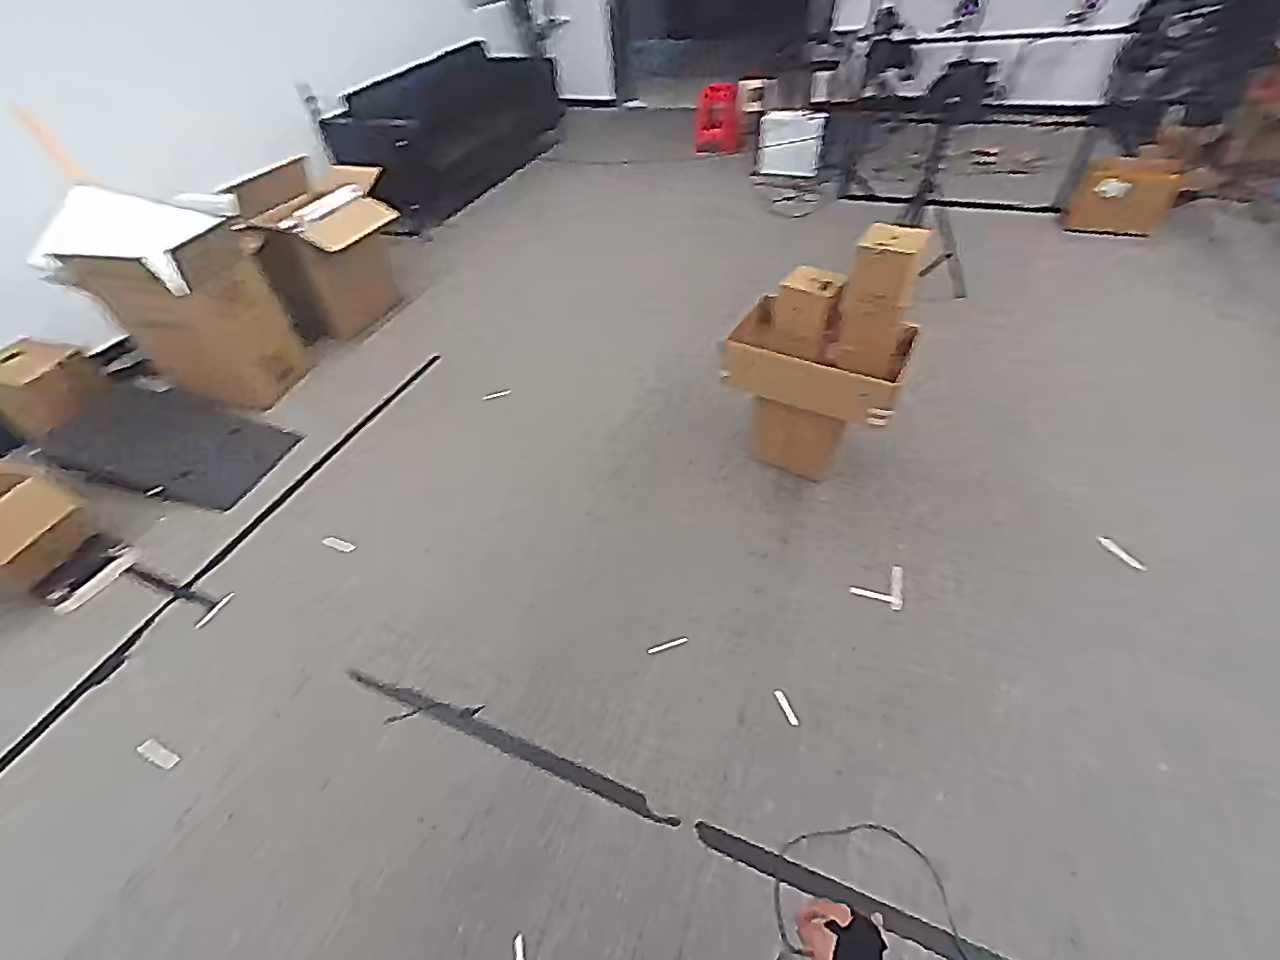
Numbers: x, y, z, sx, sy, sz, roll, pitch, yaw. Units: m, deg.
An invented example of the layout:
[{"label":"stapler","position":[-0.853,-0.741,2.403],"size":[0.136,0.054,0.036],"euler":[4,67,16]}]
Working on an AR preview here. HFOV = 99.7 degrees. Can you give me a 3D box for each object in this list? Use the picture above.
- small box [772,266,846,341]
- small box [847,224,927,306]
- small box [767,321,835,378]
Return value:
[{"label":"small box","position":[0.569,-0.597,1.840],"size":[0.179,0.176,0.168],"euler":[27,54,27]},{"label":"small box","position":[0.745,-0.654,1.644],"size":[0.168,0.176,0.179],"euler":[22,51,27]},{"label":"small box","position":[0.581,-0.495,1.967],"size":[0.179,0.176,0.168],"euler":[23,52,24]}]
